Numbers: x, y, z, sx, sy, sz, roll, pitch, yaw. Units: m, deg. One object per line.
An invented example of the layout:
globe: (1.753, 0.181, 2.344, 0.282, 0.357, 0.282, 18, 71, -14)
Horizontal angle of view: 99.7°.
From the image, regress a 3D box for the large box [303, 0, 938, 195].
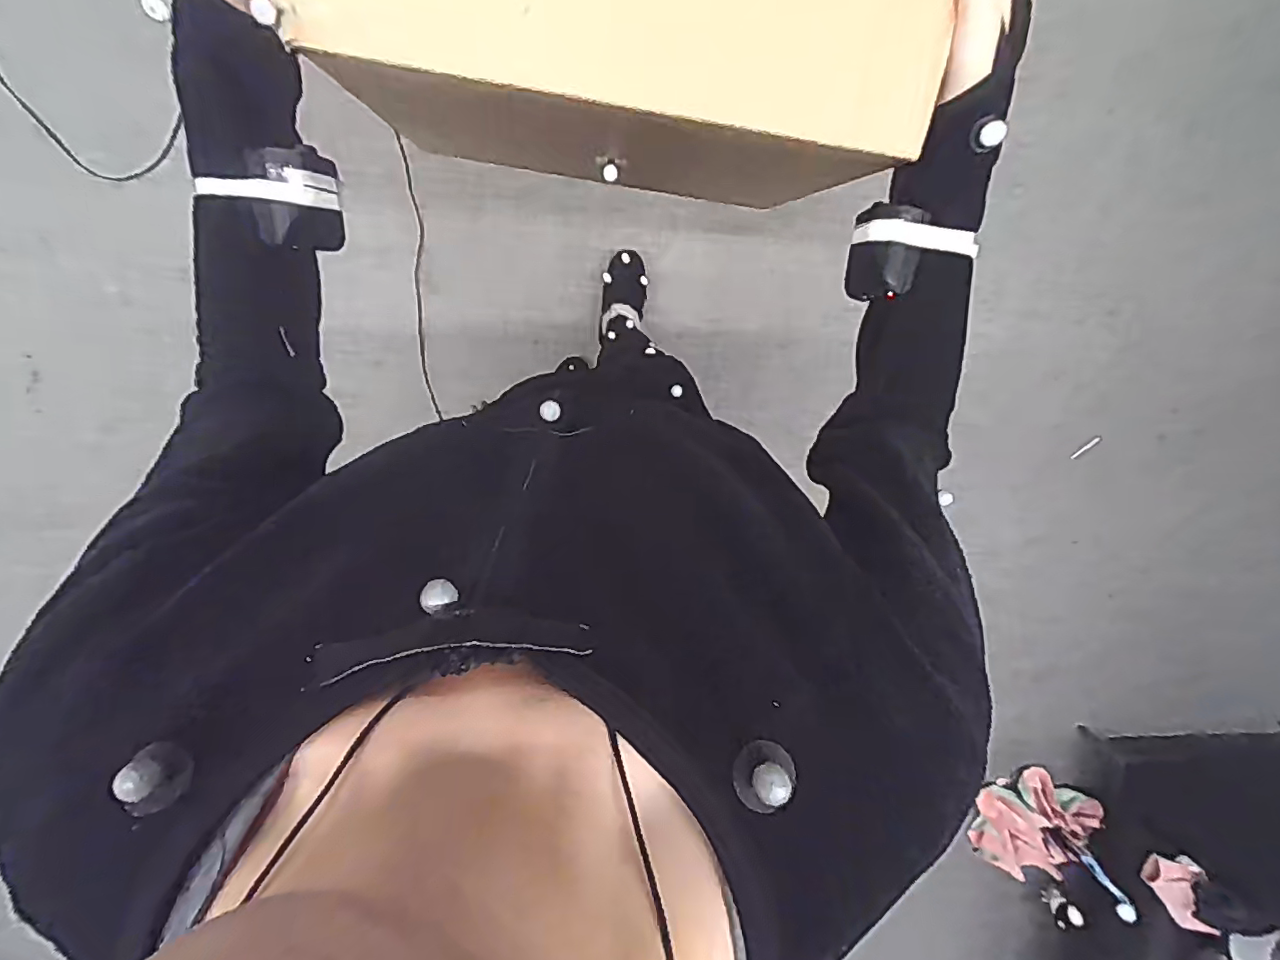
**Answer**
large box: (-0.005, -0.442, 0.442, 0.408, 0.320, 0.320, 5, 110, -8)
